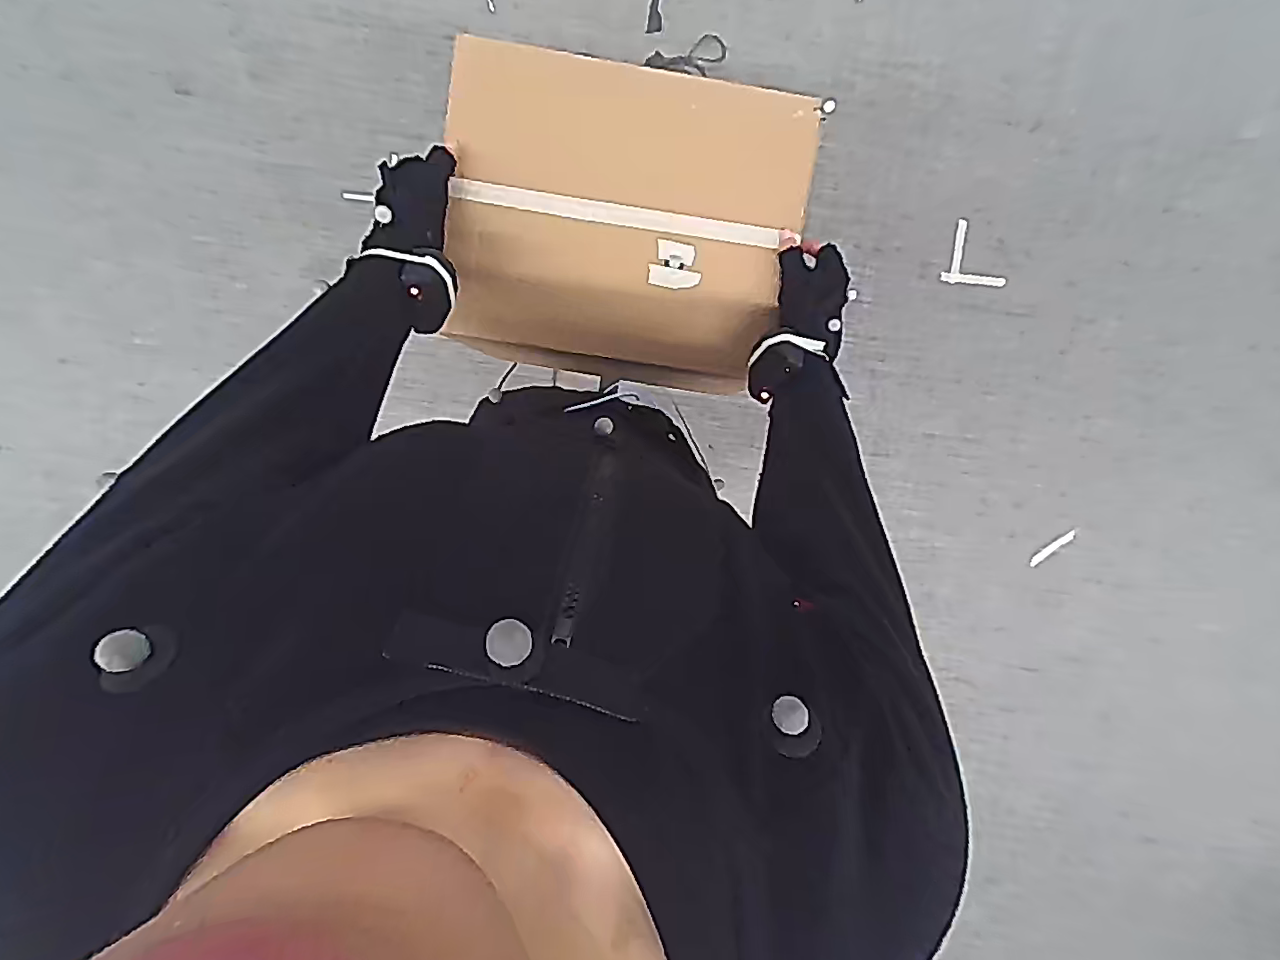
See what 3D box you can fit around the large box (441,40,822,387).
[{"bbox_3d":[-0.019,-0.320,0.760,0.408,0.320,0.320,9,97,-3],"label":"large box"}]
